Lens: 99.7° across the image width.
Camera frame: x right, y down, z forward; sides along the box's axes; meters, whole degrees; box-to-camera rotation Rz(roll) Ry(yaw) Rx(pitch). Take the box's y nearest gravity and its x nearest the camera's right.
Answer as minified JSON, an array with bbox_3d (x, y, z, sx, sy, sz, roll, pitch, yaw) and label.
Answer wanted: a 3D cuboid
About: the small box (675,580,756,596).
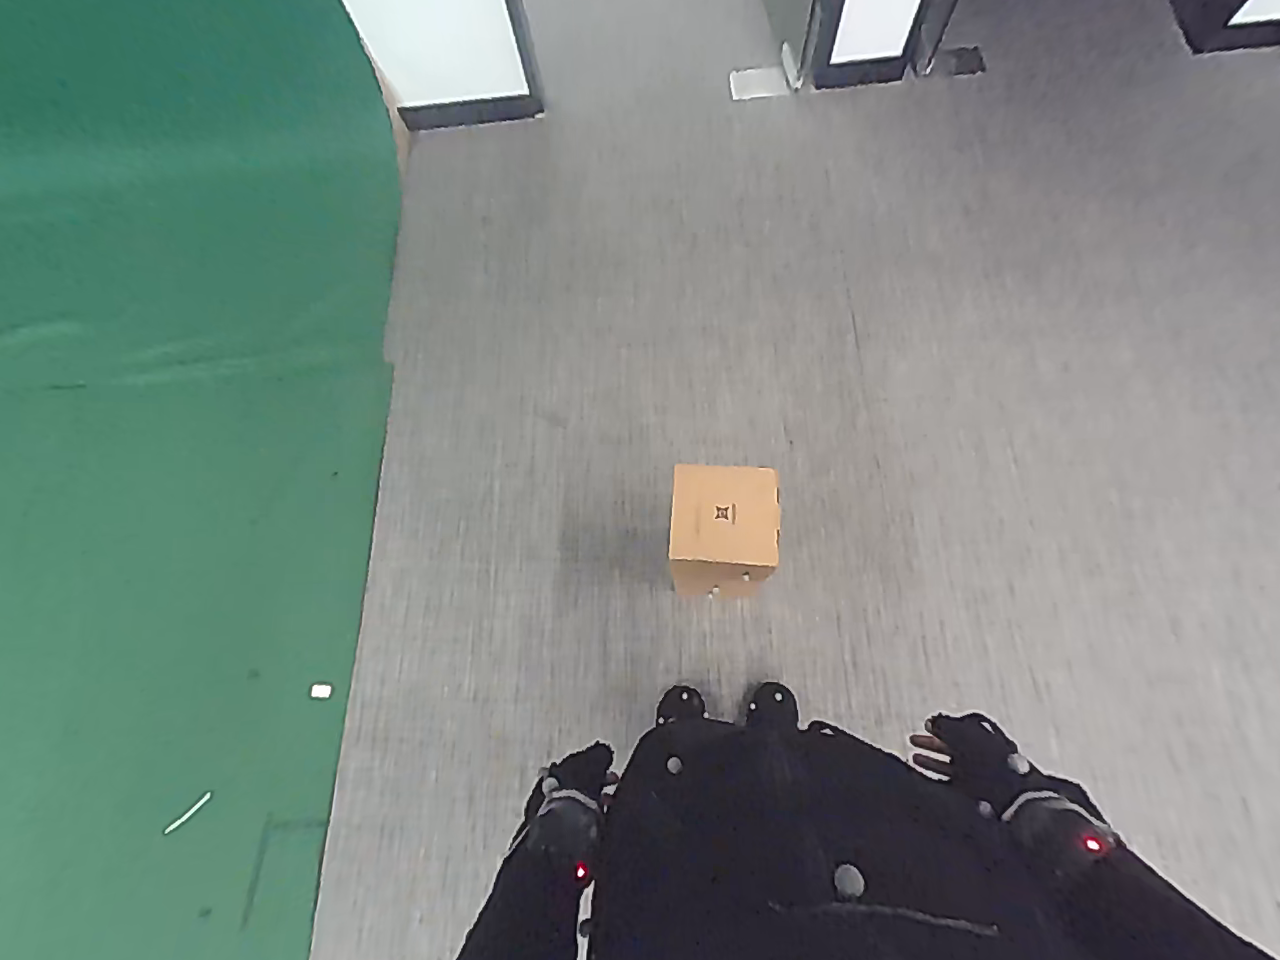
[{"bbox_3d":[0.175,0.178,1.269,0.179,0.176,0.168,2,72,7],"label":"small box"}]

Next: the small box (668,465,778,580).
[{"bbox_3d":[0.144,0.081,0.960,0.179,0.176,0.168,2,71,7],"label":"small box"}]

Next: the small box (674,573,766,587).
[{"bbox_3d":[0.160,0.130,1.117,0.179,0.176,0.168,0,73,6],"label":"small box"}]
